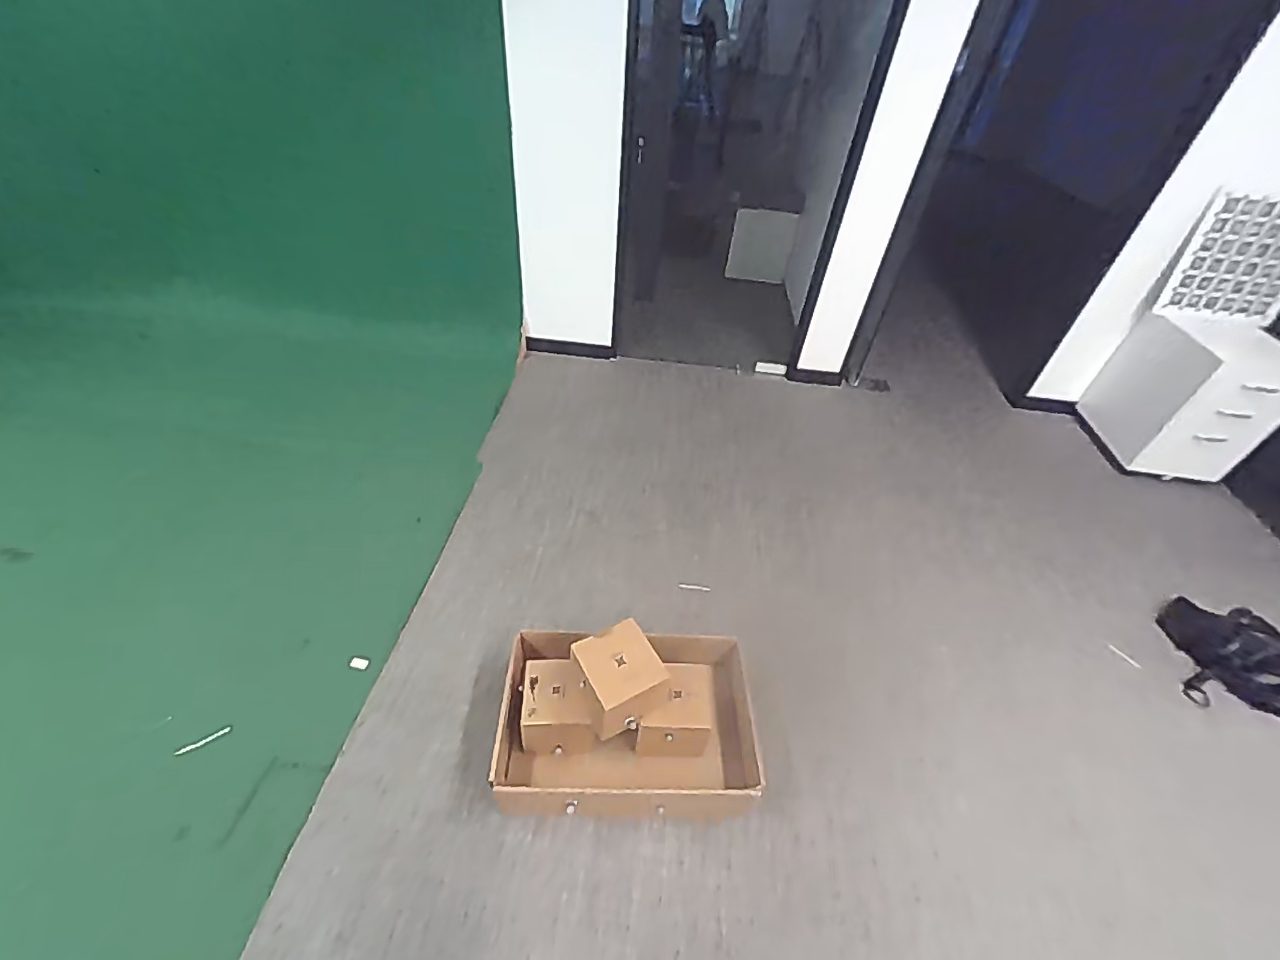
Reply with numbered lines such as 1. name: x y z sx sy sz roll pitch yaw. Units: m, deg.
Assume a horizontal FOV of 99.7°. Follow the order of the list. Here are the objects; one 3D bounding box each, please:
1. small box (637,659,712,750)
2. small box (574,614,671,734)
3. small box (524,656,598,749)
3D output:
1. small box: 0.083 0.578 1.389 0.179 0.176 0.168 3 43 -2
2. small box: -0.049 0.456 1.269 0.168 0.176 0.179 -20 50 -25
3. small box: -0.198 0.565 1.371 0.179 0.176 0.168 2 42 -7
